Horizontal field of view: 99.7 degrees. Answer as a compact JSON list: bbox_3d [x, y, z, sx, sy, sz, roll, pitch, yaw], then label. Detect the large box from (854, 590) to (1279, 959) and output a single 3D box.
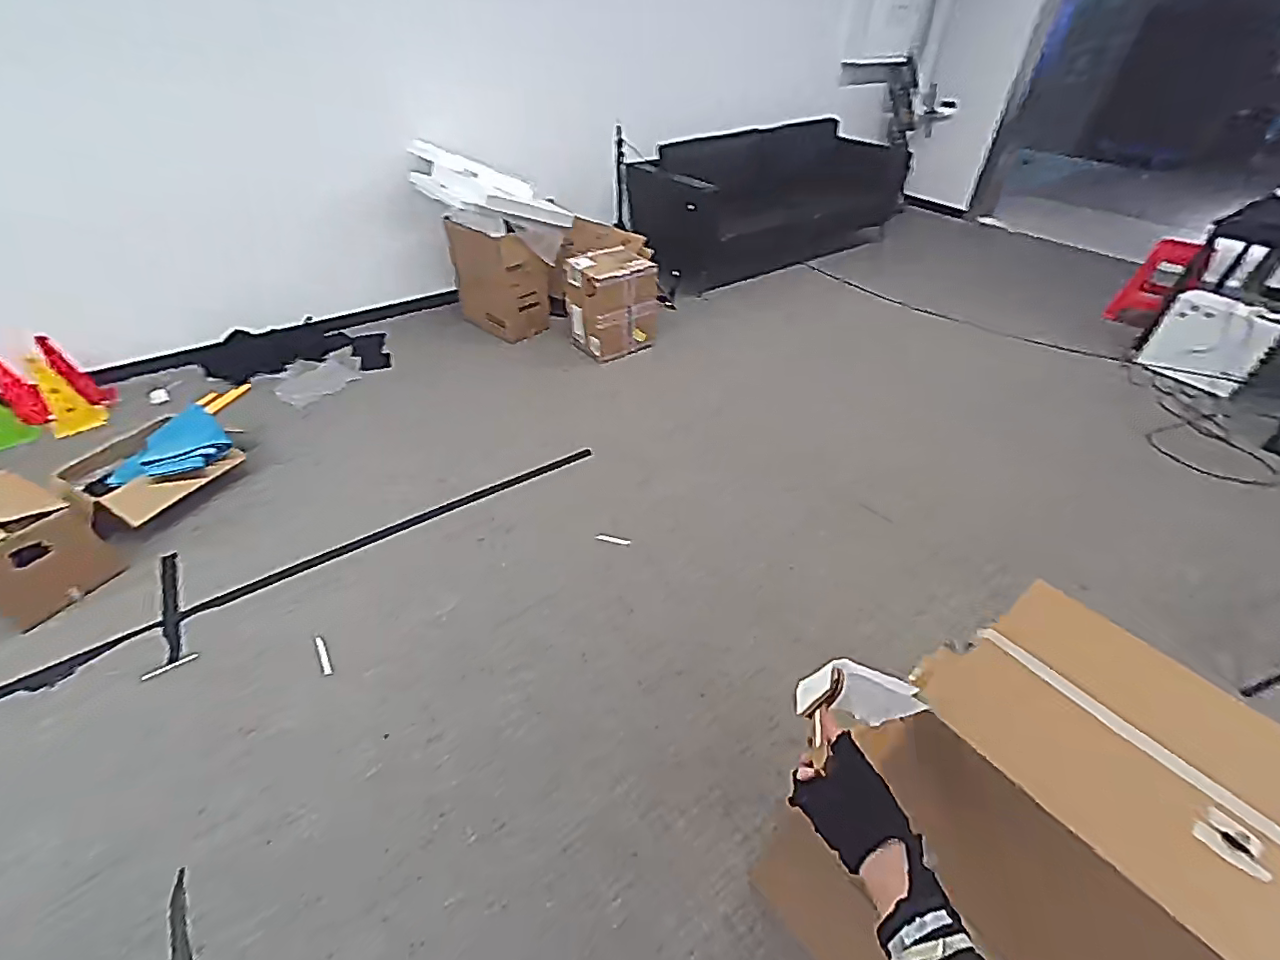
[{"bbox_3d":[0.573,0.433,0.709,0.320,0.320,0.408,-27,48,-27],"label":"large box"}]
